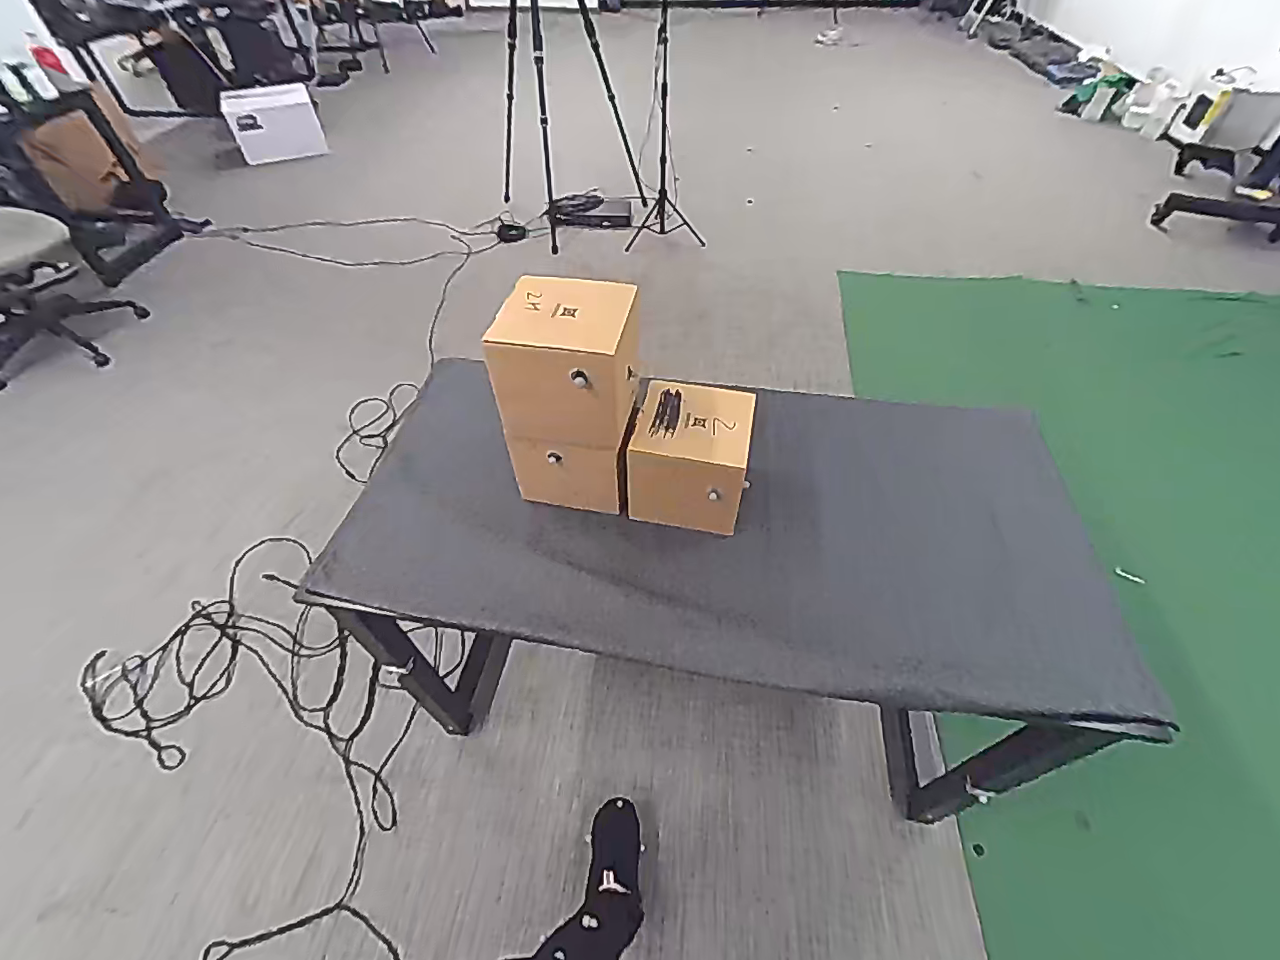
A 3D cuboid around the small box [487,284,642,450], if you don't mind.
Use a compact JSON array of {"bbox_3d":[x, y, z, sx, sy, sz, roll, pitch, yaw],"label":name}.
[{"bbox_3d":[-0.098,-0.163,0.794,0.179,0.176,0.168,8,49,7],"label":"small box"}]
